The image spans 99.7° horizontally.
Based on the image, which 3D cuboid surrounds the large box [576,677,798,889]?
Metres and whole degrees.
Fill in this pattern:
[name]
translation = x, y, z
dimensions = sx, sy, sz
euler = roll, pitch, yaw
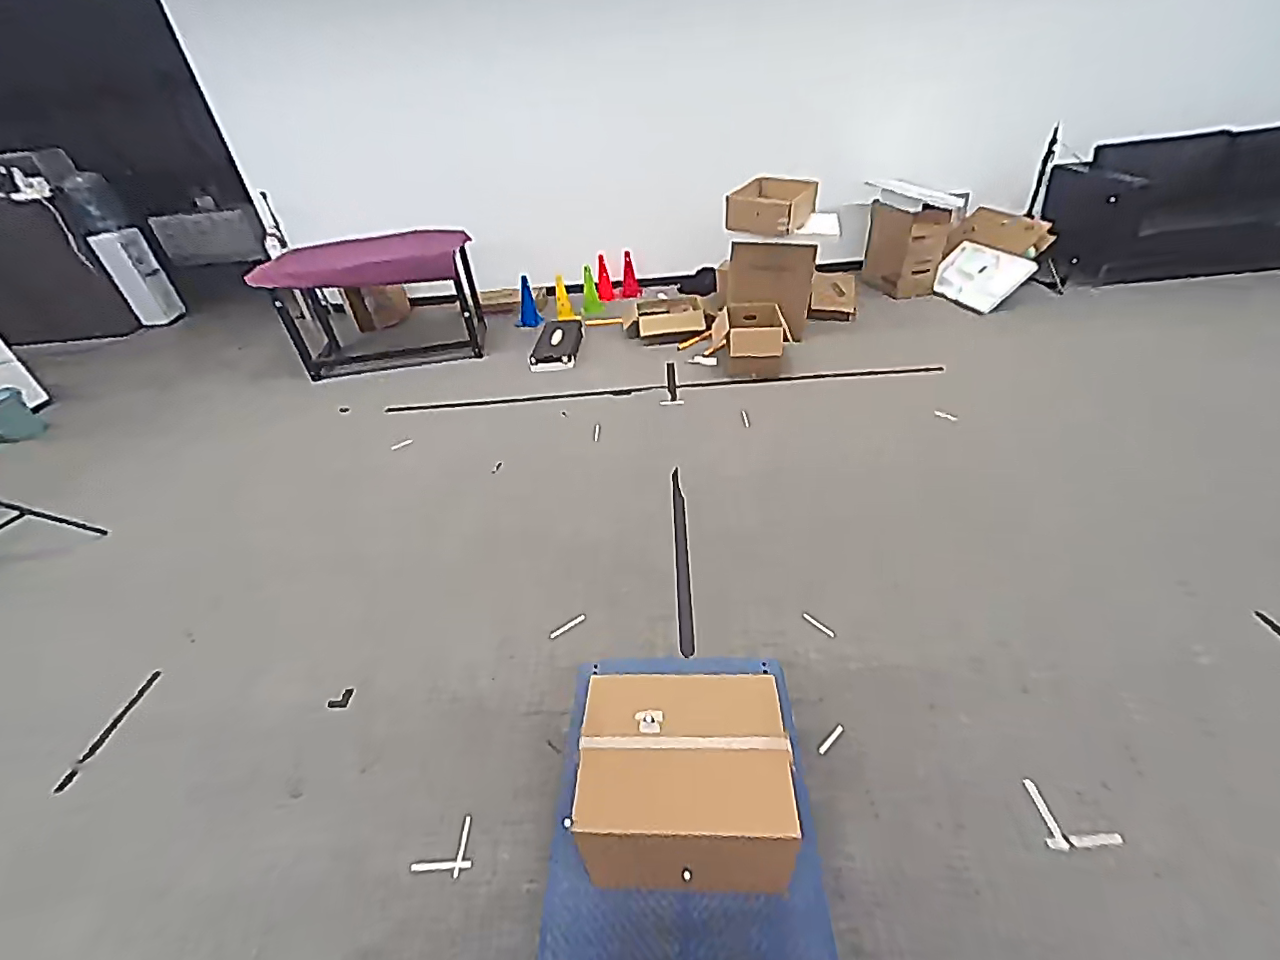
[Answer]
[large box]
translation = 0.101, 0.653, 1.167
dimensions = 0.408, 0.320, 0.320
euler = -3, 36, 5
